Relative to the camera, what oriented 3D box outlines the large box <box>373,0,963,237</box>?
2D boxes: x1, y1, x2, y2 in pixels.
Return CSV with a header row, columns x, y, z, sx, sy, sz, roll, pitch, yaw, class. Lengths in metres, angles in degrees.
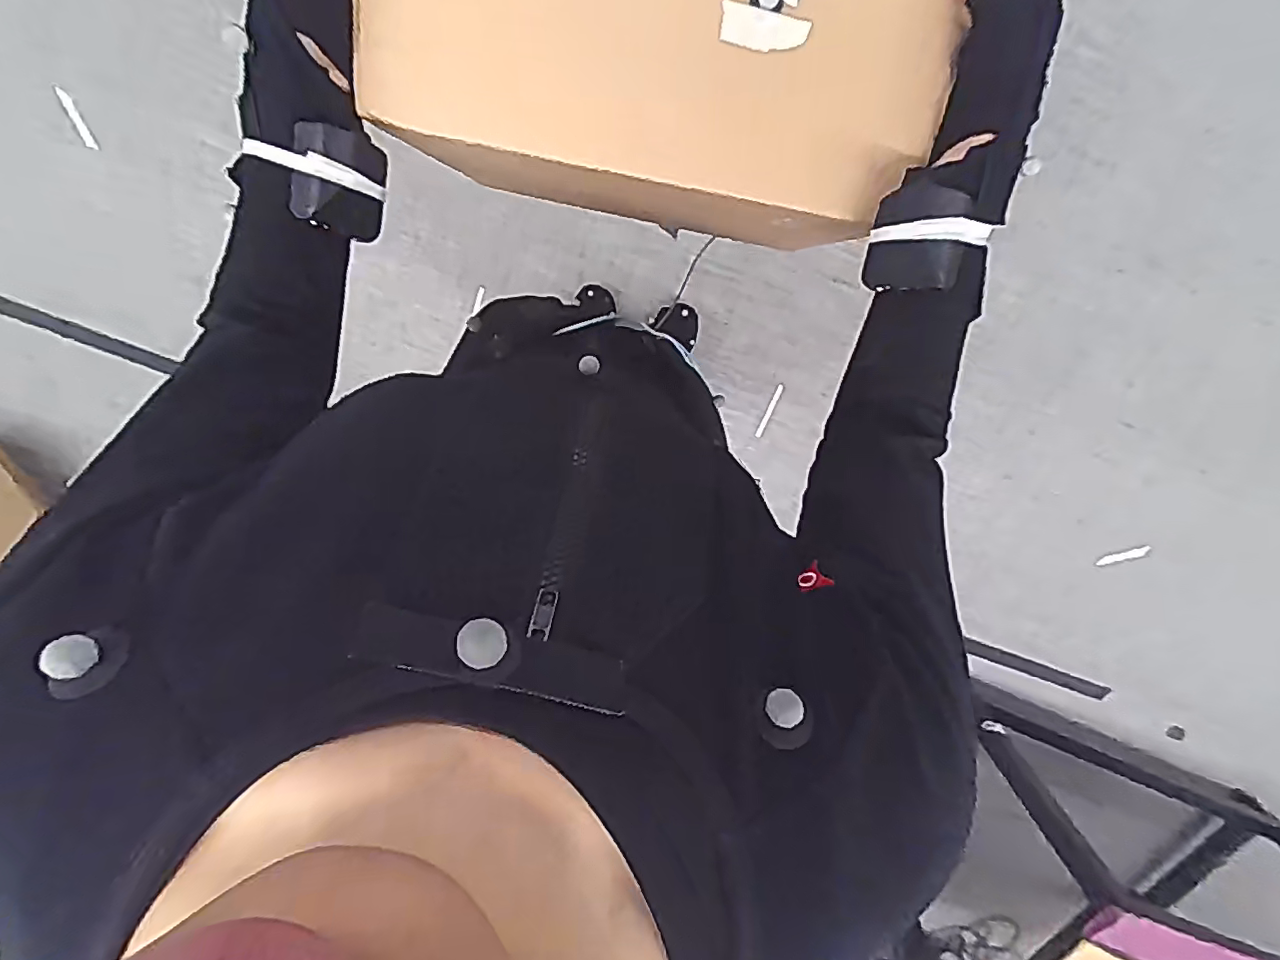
x,y,z,sx,sy,sz,roll,pitch,yaw,class
0.026,-0.425,0.488,0.408,0.320,0.320,9,111,-4,large box
